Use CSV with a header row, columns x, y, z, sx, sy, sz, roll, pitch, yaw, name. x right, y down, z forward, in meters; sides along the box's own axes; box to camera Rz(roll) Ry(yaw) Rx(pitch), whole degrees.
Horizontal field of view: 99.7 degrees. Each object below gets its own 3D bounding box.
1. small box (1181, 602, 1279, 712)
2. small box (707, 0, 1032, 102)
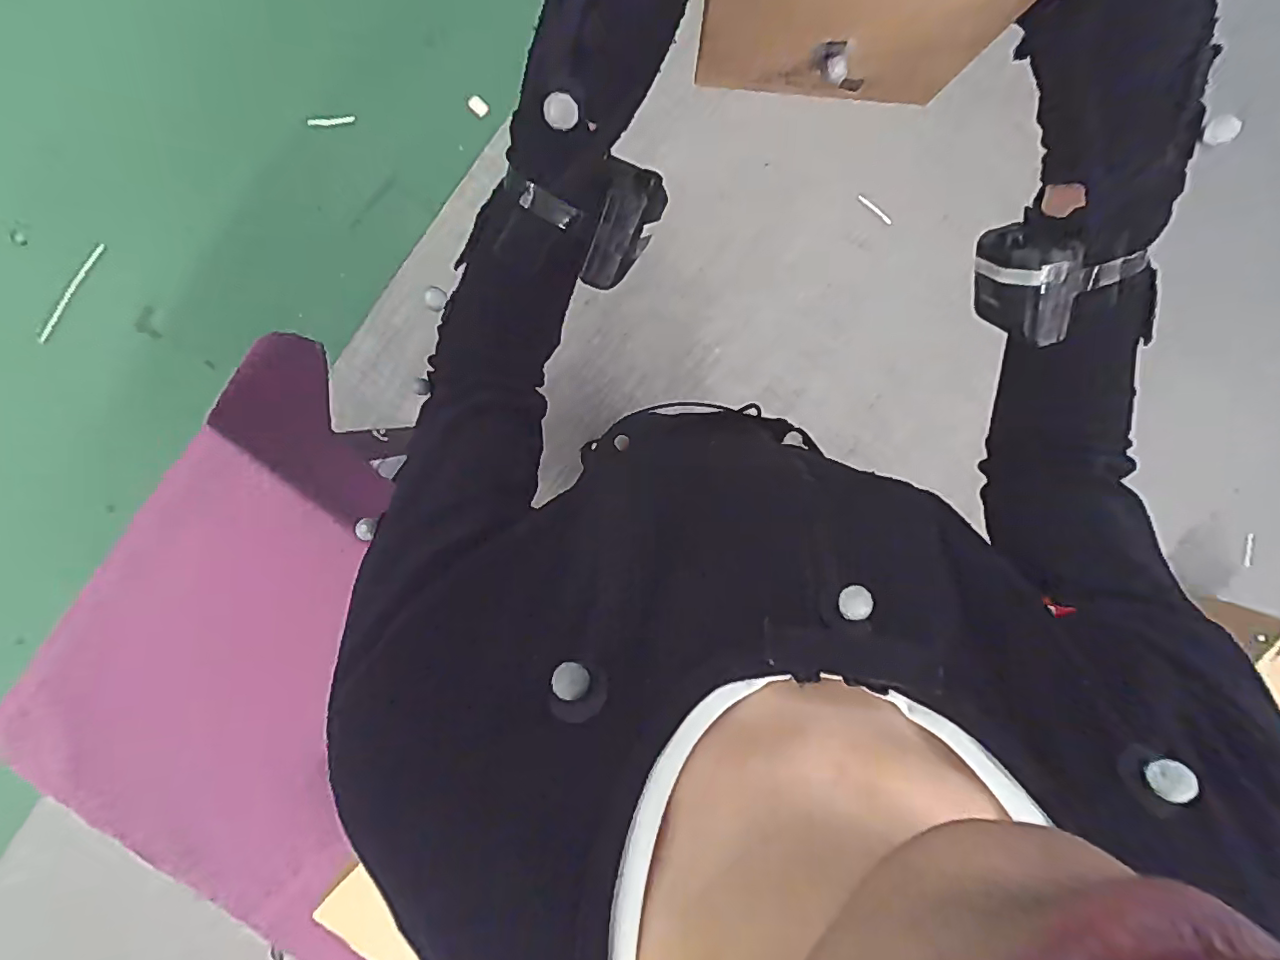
x,y,z,sx,sy,sz,roll,pitch,yaw,name
1.462,0.417,1.271,0.179,0.176,0.168,37,95,-5,small box
0.131,-0.342,0.282,0.168,0.176,0.179,6,101,0,small box
